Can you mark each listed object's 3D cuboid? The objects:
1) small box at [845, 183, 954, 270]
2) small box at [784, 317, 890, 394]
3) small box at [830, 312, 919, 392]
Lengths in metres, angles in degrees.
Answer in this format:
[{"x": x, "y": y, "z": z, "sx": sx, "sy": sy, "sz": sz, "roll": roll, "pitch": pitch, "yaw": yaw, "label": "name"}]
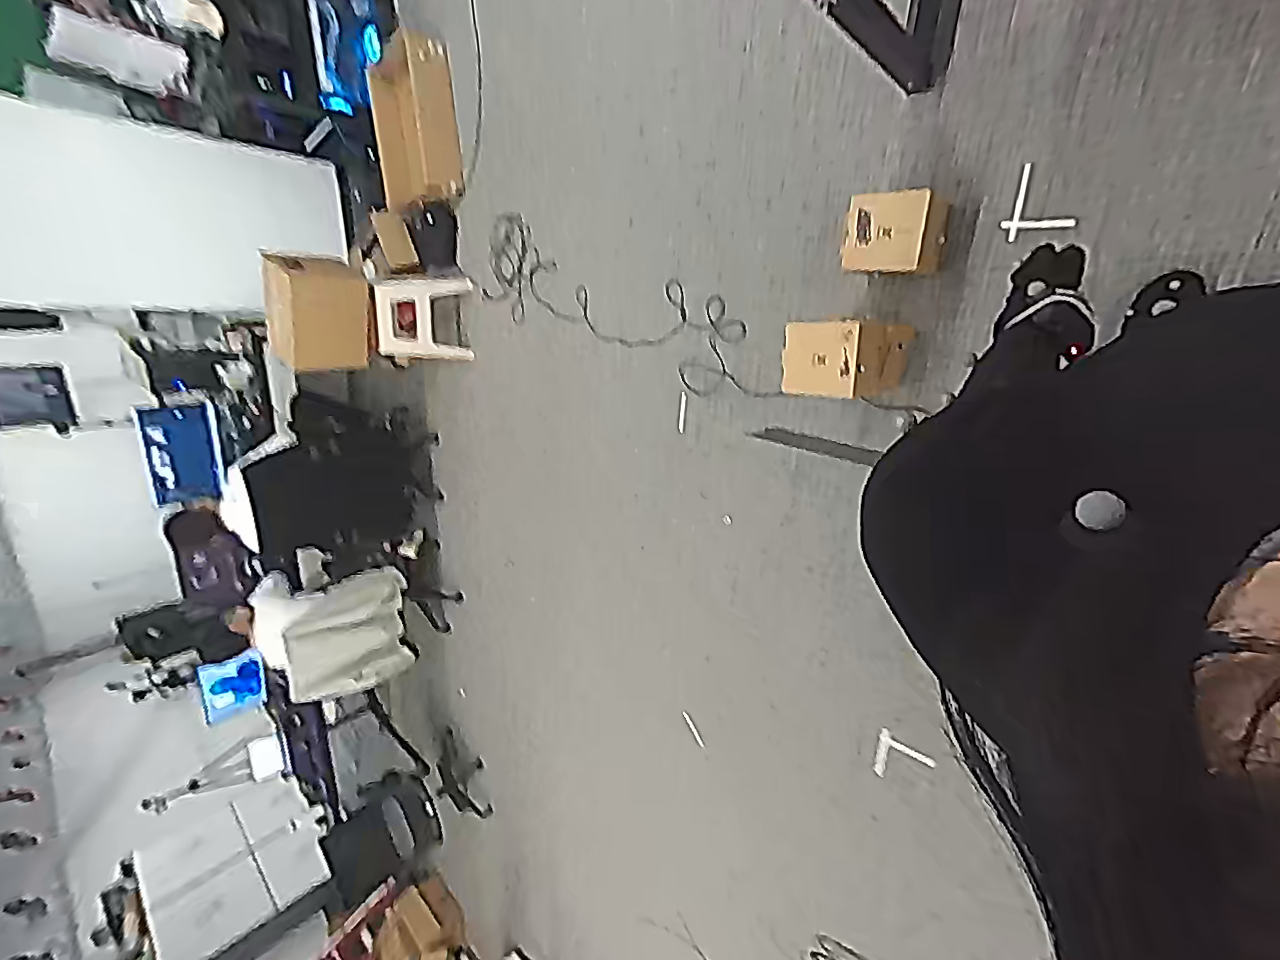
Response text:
[{"x": 0.613, "y": -0.590, "z": 1.278, "sx": 0.179, "sy": 0.176, "sz": 0.168, "roll": 17, "pitch": 114, "yaw": 38, "label": "small box"}, {"x": 0.465, "y": -0.297, "z": 1.278, "sx": 0.179, "sy": 0.176, "sz": 0.168, "roll": 14, "pitch": 111, "yaw": 40, "label": "small box"}, {"x": 0.584, "y": -0.333, "z": 1.386, "sx": 0.179, "sy": 0.176, "sz": 0.168, "roll": 26, "pitch": 118, "yaw": 37, "label": "small box"}]
